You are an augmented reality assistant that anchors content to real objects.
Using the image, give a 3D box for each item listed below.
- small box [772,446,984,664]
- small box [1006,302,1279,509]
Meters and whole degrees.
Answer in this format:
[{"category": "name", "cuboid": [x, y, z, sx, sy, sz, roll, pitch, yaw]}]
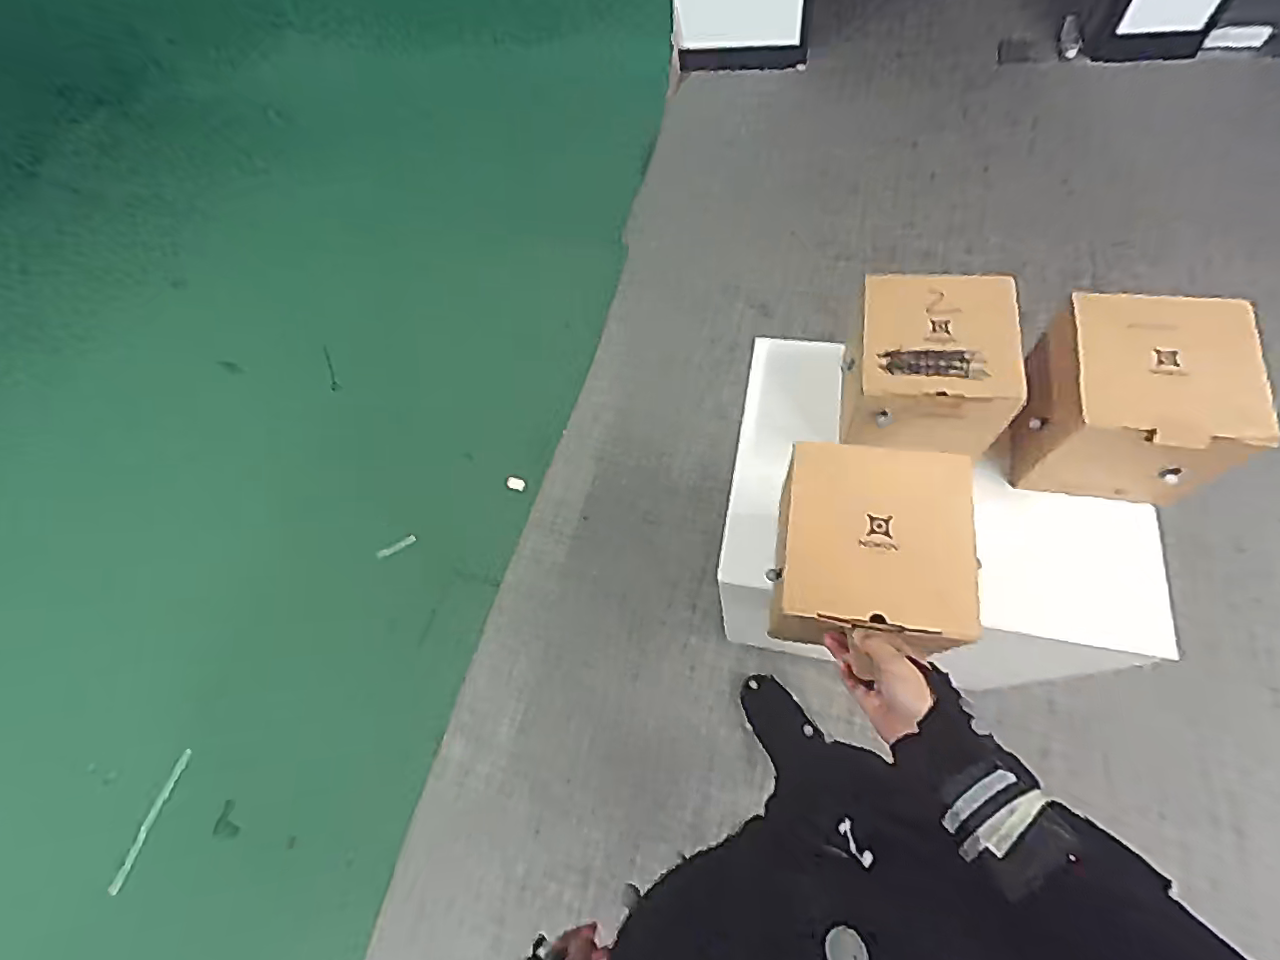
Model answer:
[{"category": "small box", "cuboid": [0.234, 0.085, 0.571, 0.168, 0.176, 0.179, 6, 68, 12]}, {"category": "small box", "cuboid": [0.556, -0.080, 0.631, 0.168, 0.176, 0.179, 7, 67, 13]}]
